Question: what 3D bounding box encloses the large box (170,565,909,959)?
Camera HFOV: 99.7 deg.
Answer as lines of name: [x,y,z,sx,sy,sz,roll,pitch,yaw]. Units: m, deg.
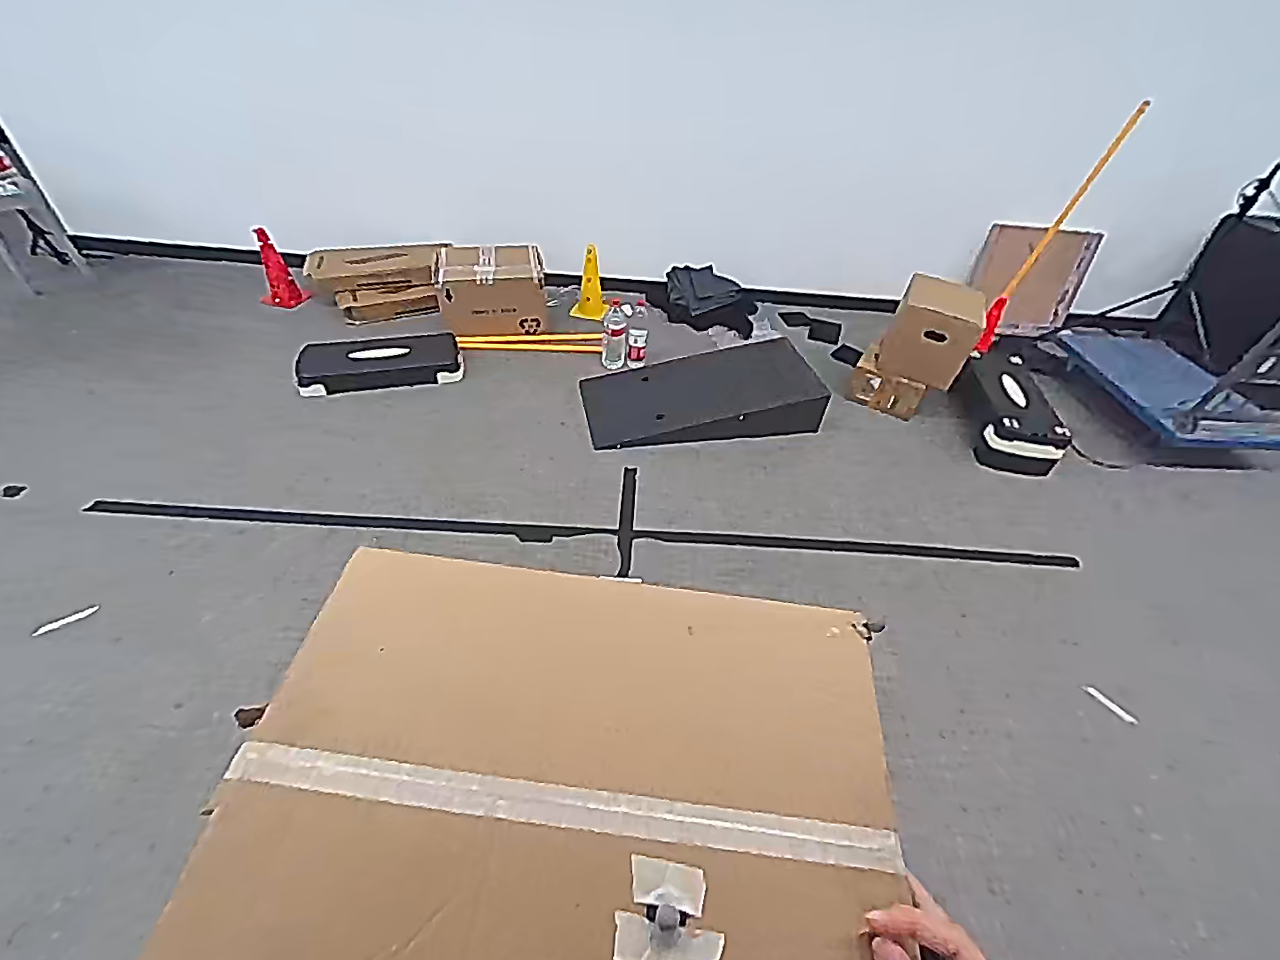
large box: [-0.051,0.301,0.452,0.408,0.320,0.320,7,51,1]
